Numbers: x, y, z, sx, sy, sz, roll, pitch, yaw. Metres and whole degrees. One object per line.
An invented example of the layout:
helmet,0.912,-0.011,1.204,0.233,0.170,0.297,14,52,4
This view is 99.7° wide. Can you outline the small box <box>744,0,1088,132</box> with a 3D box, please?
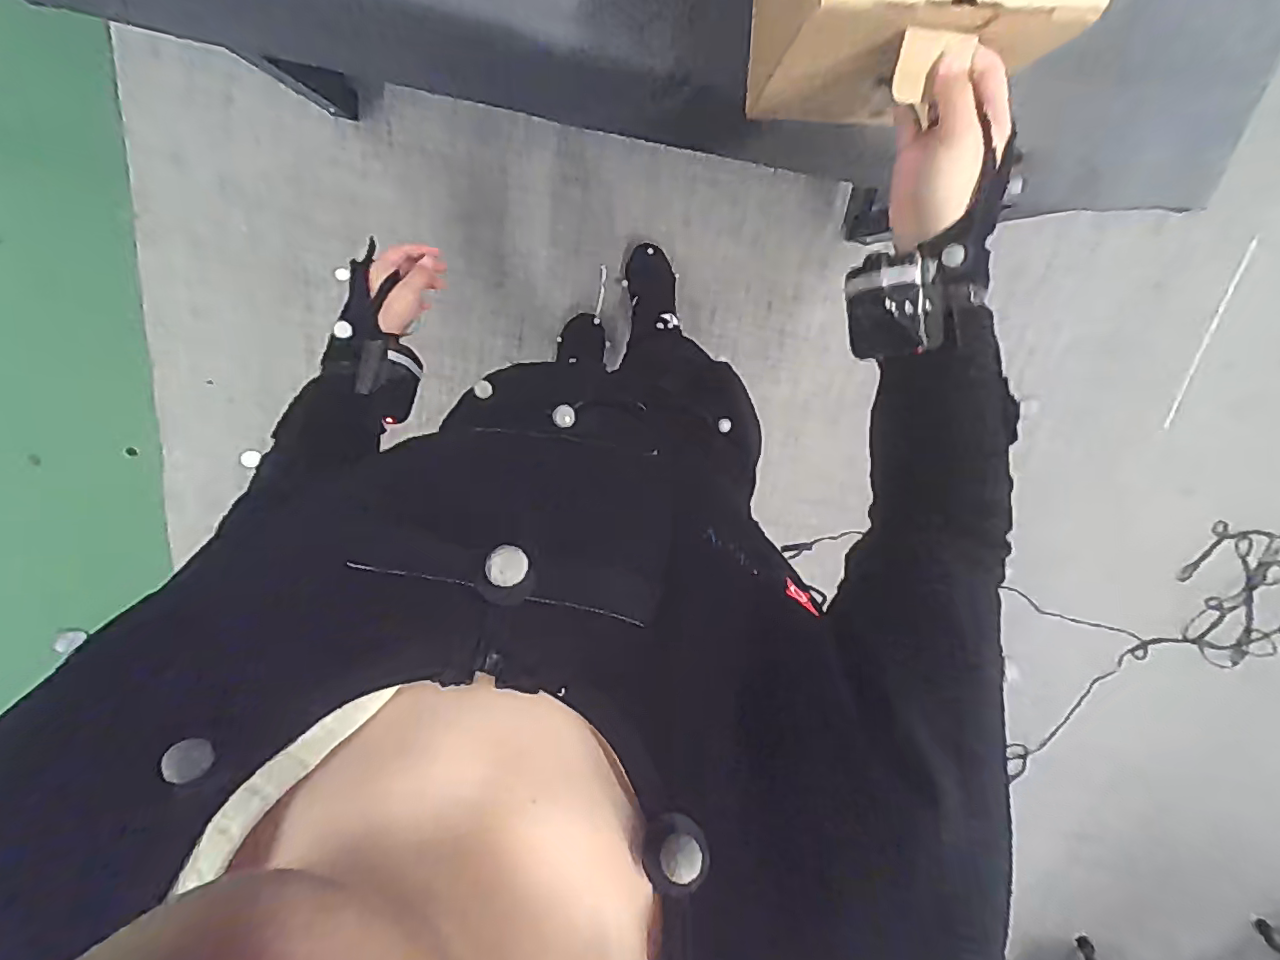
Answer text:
small box,0.171,-0.358,0.361,0.168,0.176,0.179,1,105,-3
